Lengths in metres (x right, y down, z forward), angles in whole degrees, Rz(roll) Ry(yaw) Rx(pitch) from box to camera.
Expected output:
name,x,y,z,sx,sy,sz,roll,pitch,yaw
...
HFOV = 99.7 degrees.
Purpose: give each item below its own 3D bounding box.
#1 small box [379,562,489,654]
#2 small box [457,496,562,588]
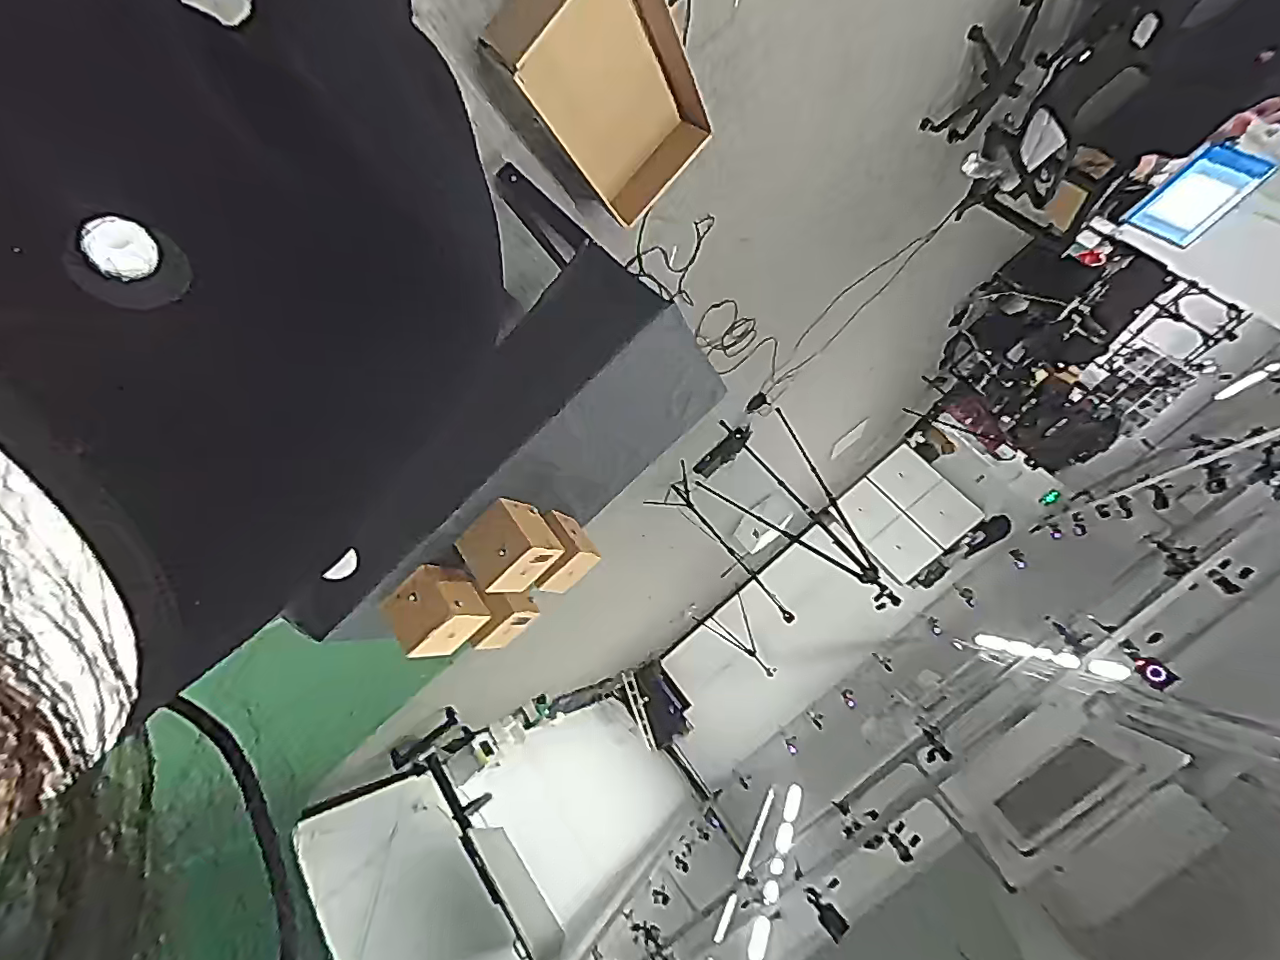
name,x,y,z,sx,sy,sz,roll,pitch,yaw
small box,-0.543,0.336,1.430,0.168,0.176,0.179,-42,158,3
small box,-0.346,0.164,1.422,0.179,0.176,0.168,-44,158,9
